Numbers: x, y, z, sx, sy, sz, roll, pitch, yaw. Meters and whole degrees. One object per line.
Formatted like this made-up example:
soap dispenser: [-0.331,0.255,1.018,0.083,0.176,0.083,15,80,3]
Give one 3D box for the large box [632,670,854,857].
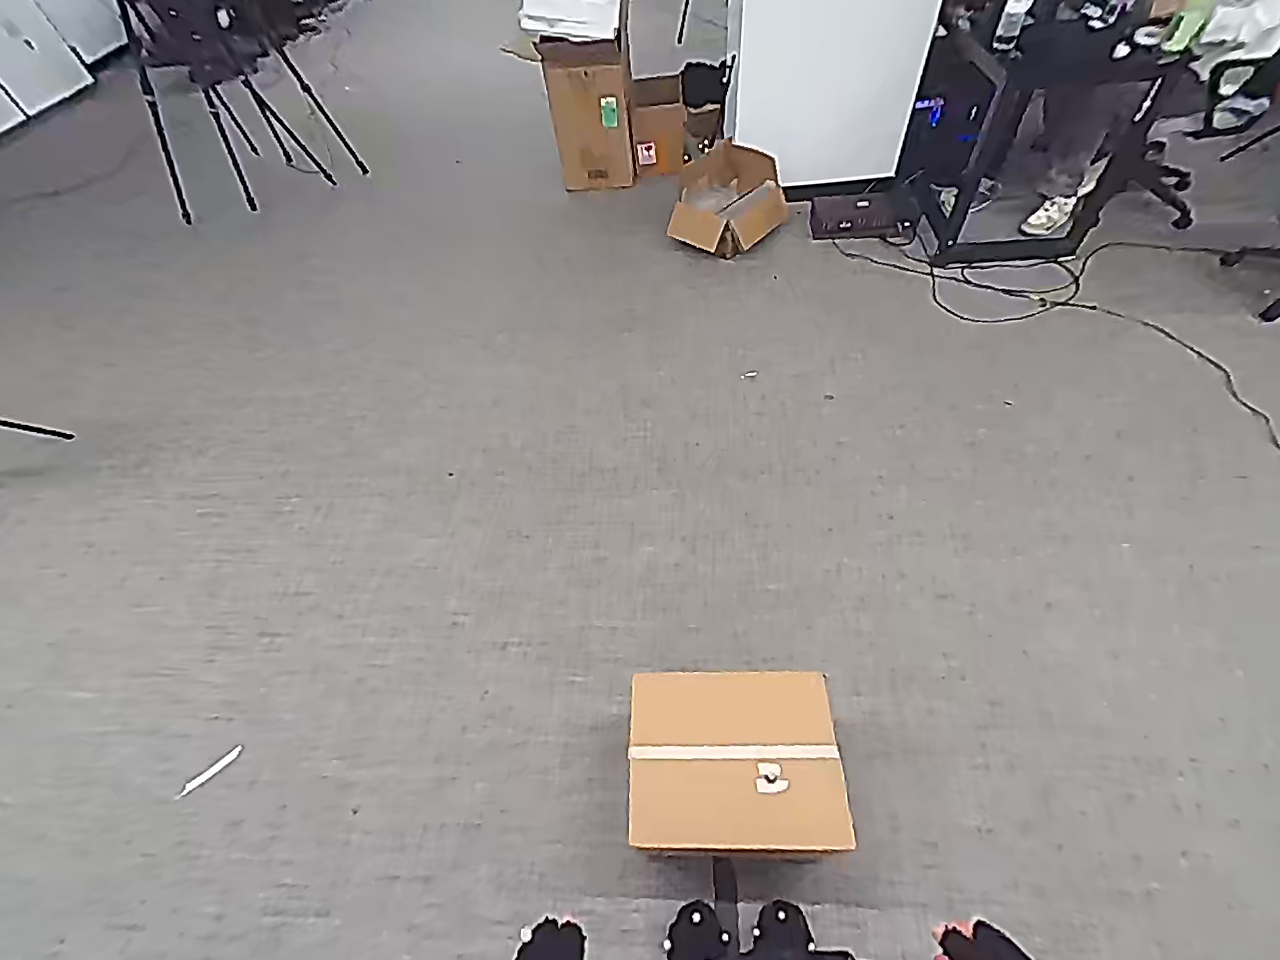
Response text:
large box: [0.193,0.621,1.173,0.408,0.320,0.320,-2,53,4]
